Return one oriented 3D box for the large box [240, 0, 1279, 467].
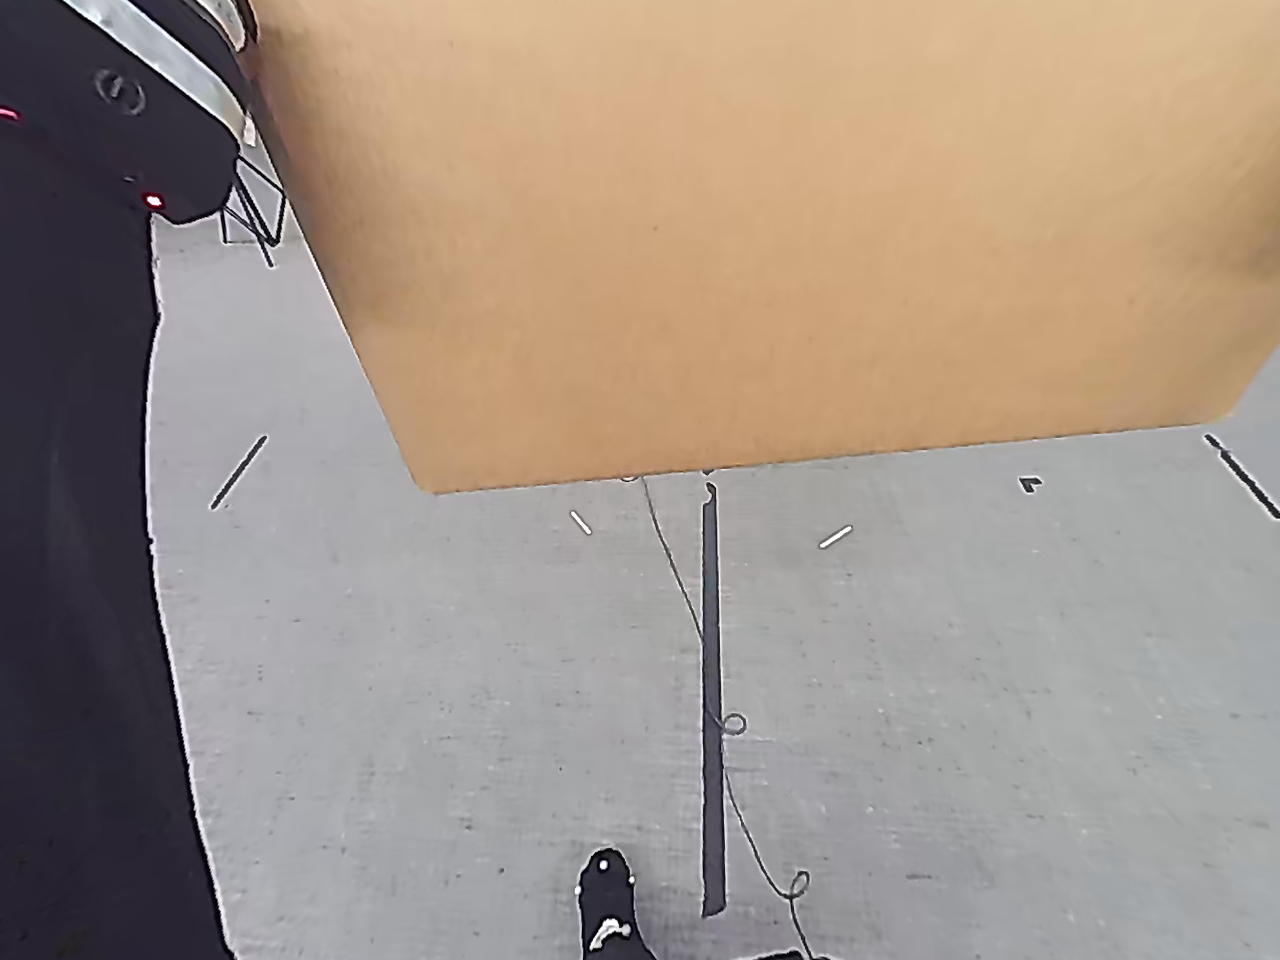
[{"bbox_3d":[0.065,-0.230,0.300,0.408,0.320,0.320,-5,39,0],"label":"large box"}]
